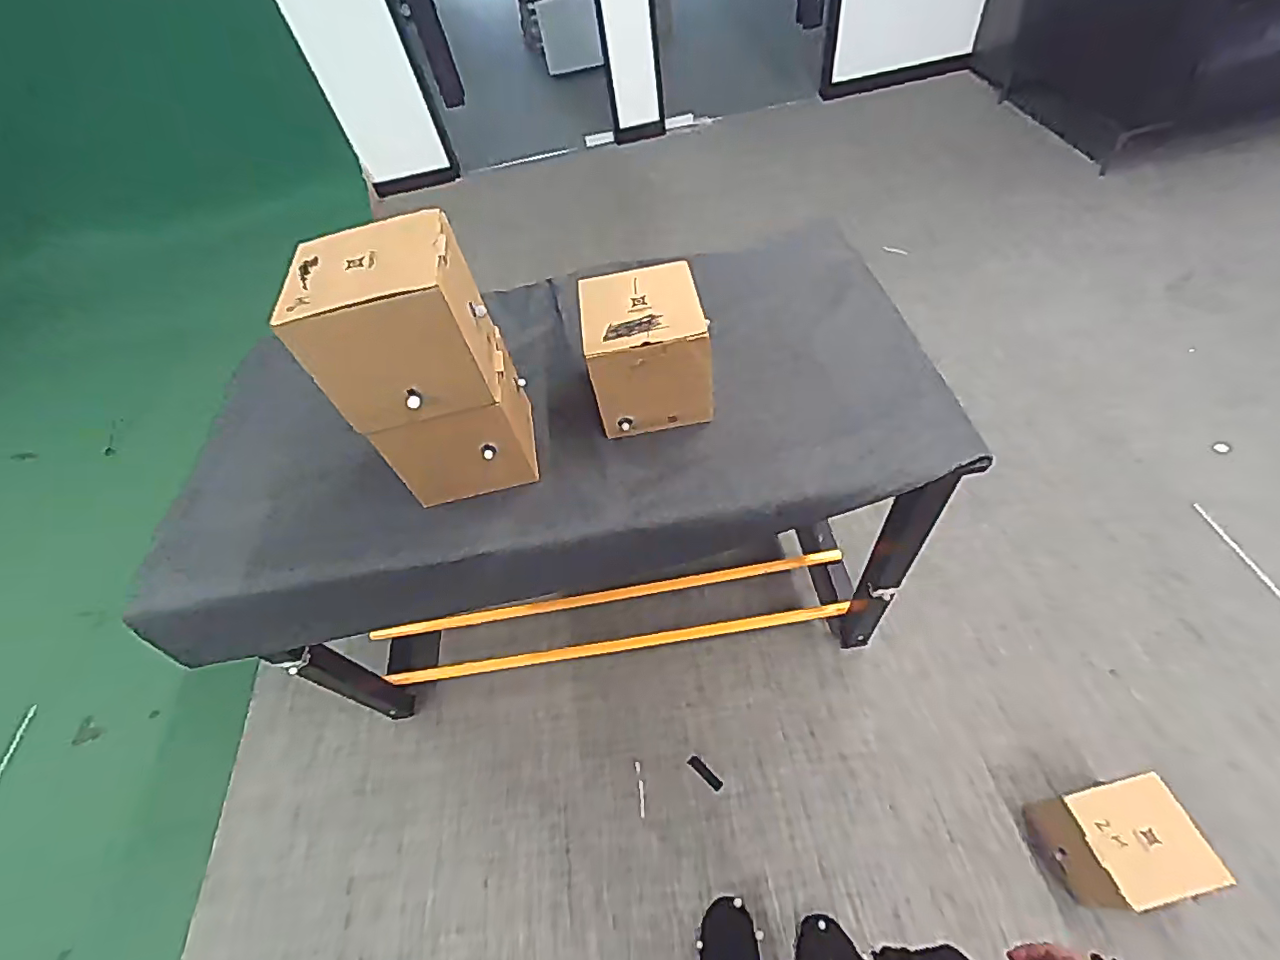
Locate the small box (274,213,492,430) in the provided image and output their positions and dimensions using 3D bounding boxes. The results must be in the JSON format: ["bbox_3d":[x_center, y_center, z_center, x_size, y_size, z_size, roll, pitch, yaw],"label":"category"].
[{"bbox_3d":[-0.286,-0.185,0.651,0.179,0.176,0.168,-13,52,-1],"label":"small box"}]

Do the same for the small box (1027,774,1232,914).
[{"bbox_3d":[0.848,0.644,0.962,0.179,0.176,0.168,-15,52,-1],"label":"small box"}]

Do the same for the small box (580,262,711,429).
[{"bbox_3d":[0.010,-0.192,0.810,0.168,0.176,0.179,-9,52,2],"label":"small box"}]

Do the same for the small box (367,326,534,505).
[{"bbox_3d":[-0.258,-0.089,0.782,0.179,0.176,0.168,-14,52,0],"label":"small box"}]
